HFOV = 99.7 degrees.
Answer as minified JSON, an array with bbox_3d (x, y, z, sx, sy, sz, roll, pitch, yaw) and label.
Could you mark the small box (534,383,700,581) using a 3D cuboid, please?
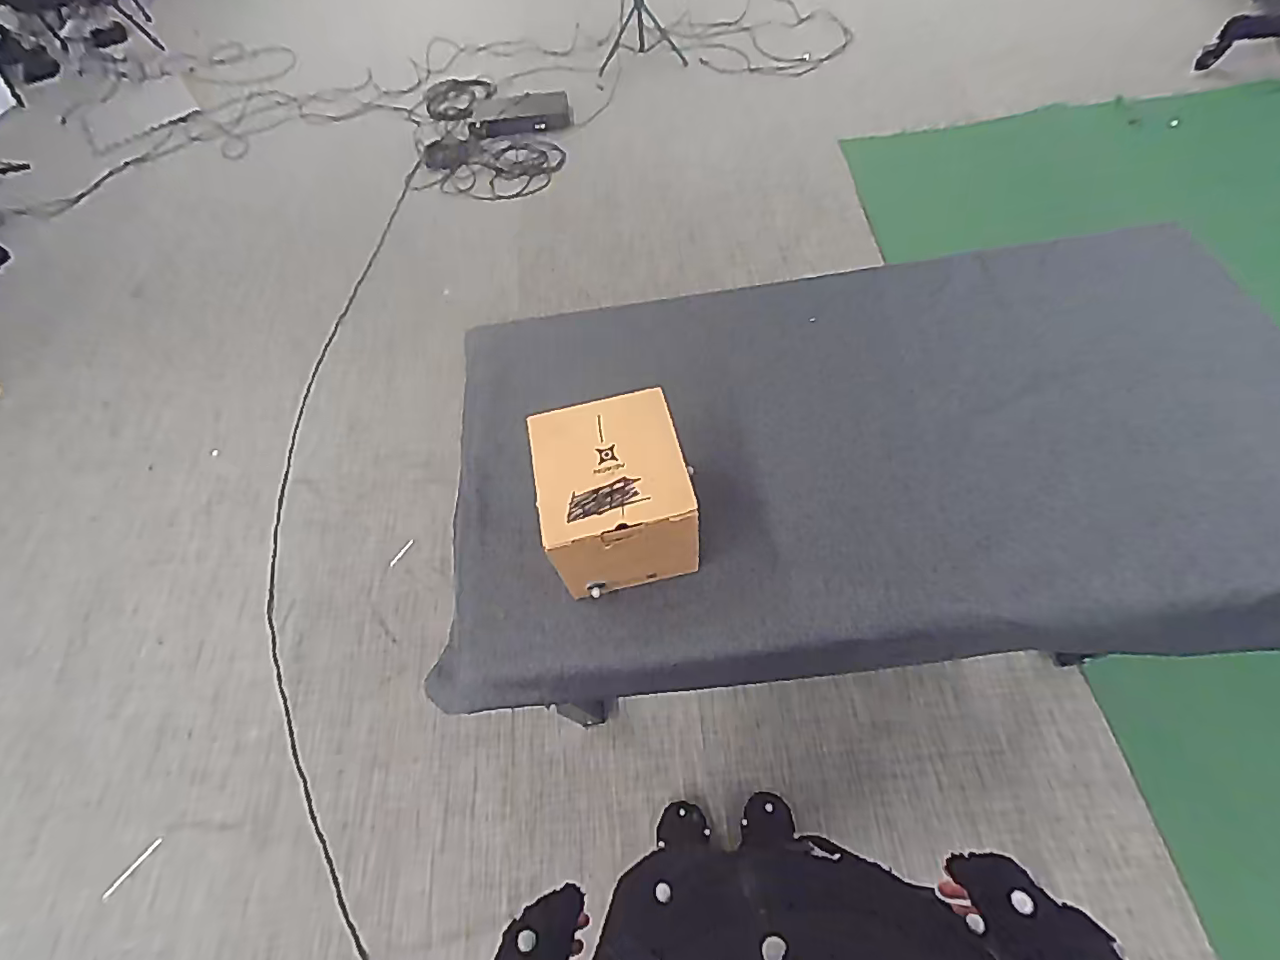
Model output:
[{"bbox_3d":[-0.023,0.013,0.673,0.168,0.176,0.179,-13,59,-1],"label":"small box"}]
